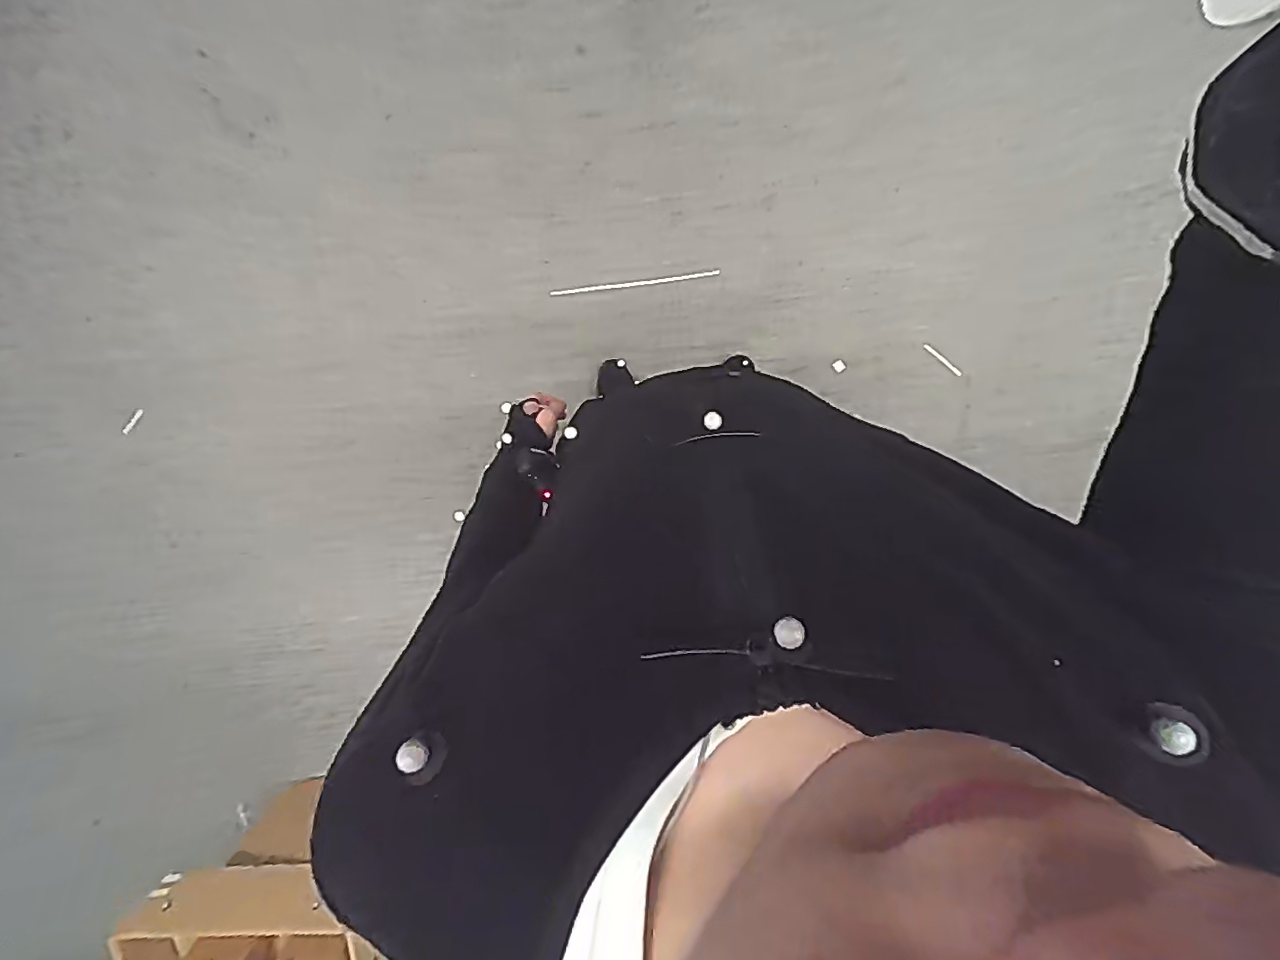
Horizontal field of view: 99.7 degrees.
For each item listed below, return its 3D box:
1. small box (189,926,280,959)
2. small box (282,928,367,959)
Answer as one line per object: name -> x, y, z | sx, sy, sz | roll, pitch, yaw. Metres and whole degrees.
small box -> -1.102, 1.336, 1.437 | 0.179, 0.176, 0.168 | -5, 101, -1
small box -> -0.849, 1.326, 1.422 | 0.179, 0.176, 0.168 | -2, 102, 3
